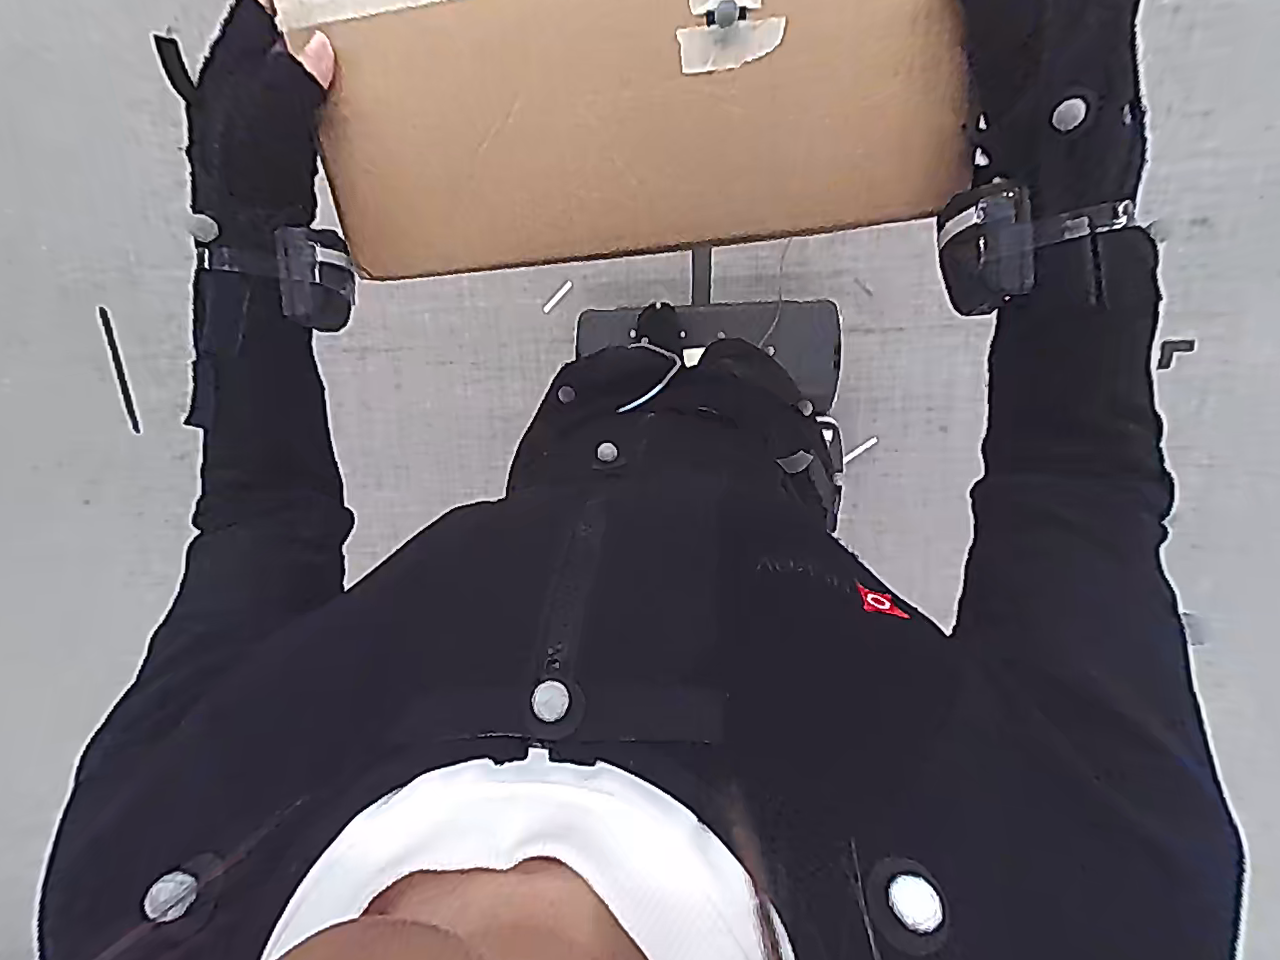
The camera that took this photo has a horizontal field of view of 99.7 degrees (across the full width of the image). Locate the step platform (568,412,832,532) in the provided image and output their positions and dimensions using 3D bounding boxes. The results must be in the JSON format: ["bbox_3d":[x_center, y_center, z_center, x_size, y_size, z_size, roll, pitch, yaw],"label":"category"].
[{"bbox_3d":[0.151,-0.023,1.440,0.684,0.204,0.286,0,104,10],"label":"step platform"}]

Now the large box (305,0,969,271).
[{"bbox_3d":[0.001,-0.366,0.447,0.408,0.320,0.320,-3,113,10],"label":"large box"}]
